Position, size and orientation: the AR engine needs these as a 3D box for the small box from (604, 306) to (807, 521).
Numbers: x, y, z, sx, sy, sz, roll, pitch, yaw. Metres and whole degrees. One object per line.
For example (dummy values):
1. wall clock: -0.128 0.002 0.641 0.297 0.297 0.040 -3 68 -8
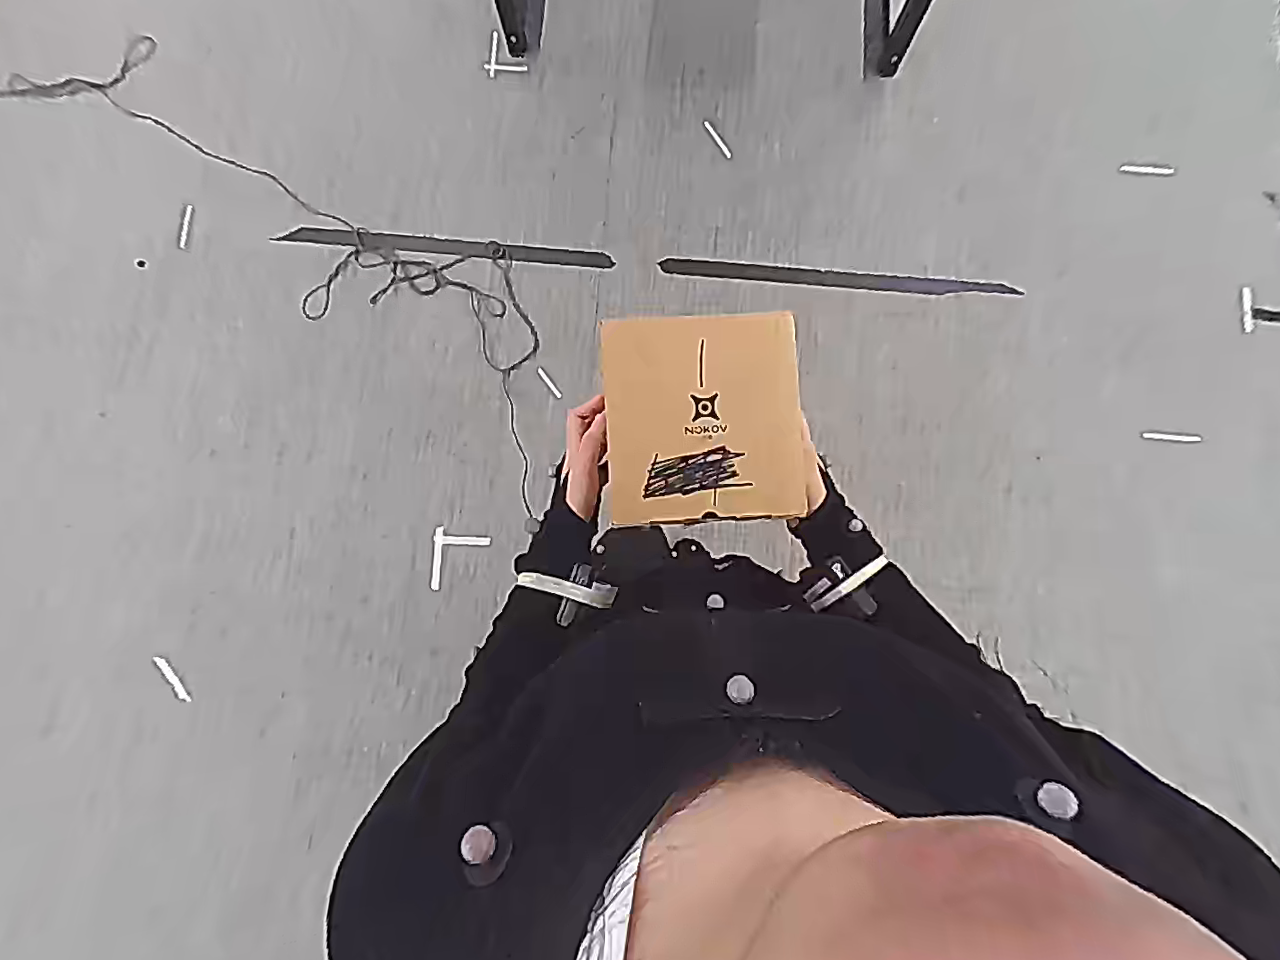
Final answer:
1. small box: 0.053 -0.055 0.530 0.168 0.176 0.179 -3 88 -2

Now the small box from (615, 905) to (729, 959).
1. small box: 0.042 0.749 0.755 0.168 0.176 0.179 3 84 1
